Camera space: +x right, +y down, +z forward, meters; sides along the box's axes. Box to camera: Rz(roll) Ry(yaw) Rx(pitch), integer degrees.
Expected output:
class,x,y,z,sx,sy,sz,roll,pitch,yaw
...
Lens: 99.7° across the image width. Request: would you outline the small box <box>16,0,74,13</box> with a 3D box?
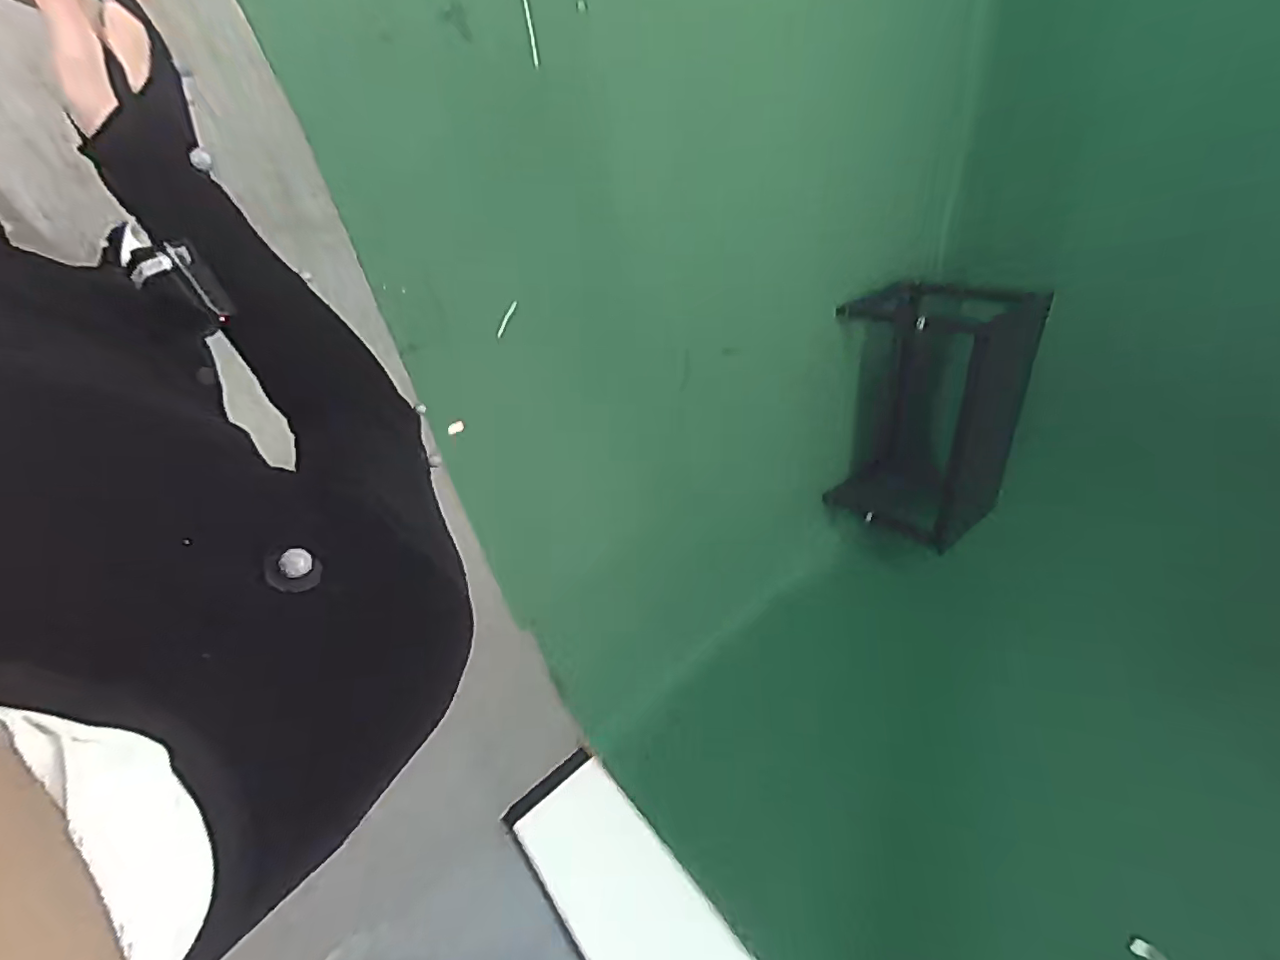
class,x,y,z,sx,sy,sz,roll,pitch,yaw
small box,-0.455,-0.431,0.318,0.168,0.176,0.179,0,114,-44
